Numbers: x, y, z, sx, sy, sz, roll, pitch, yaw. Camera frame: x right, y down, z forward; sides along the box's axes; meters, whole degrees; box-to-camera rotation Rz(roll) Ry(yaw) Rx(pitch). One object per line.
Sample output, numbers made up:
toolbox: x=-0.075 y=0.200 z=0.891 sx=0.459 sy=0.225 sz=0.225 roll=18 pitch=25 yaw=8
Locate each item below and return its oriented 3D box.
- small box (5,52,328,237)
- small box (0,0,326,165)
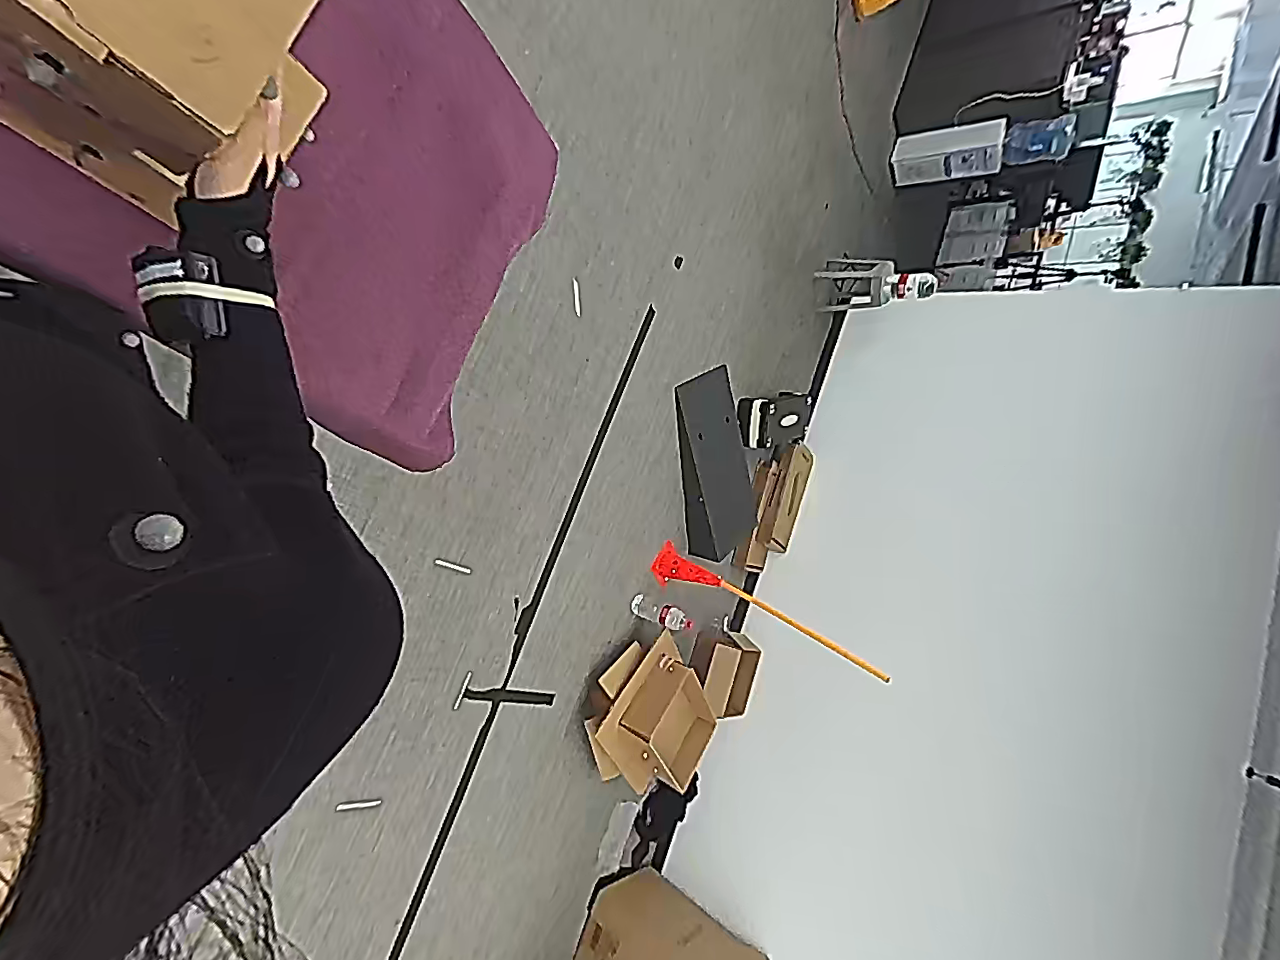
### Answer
small box: x=-0.451 y=-0.363 z=0.522 sx=0.168 sy=0.176 sz=0.179 roll=35 pitch=71 yaw=-51
small box: x=-0.327 y=-0.339 z=0.349 sx=0.168 sy=0.176 sz=0.179 roll=34 pitch=78 yaw=-49
